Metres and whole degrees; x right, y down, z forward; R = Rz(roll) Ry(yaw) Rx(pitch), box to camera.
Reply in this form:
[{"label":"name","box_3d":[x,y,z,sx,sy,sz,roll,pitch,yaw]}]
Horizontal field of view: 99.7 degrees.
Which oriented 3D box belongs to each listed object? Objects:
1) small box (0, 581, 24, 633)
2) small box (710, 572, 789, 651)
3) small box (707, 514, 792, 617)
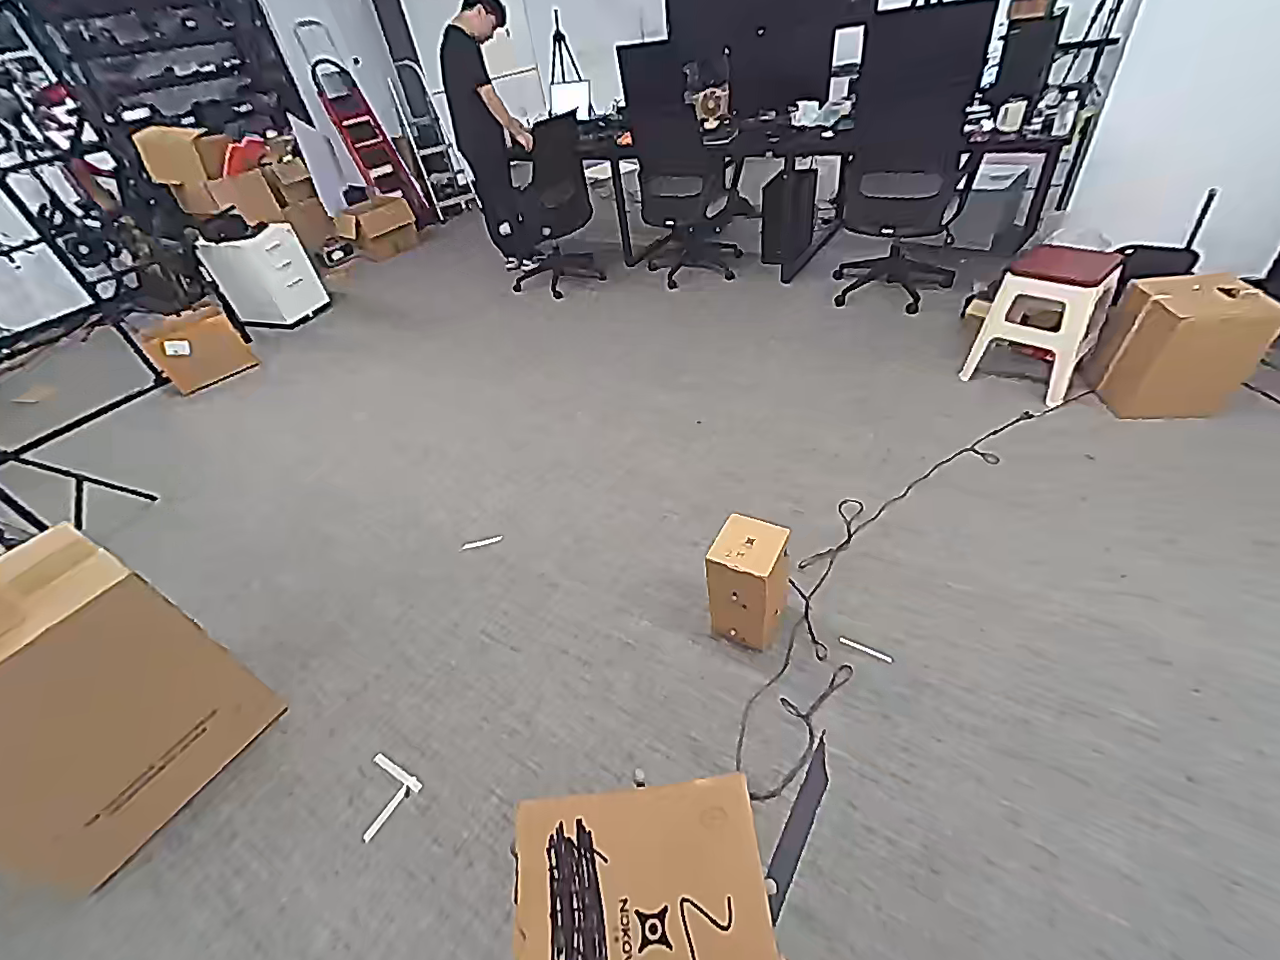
[{"label":"small box","box_3d":[-1.377,0.244,1.051,0.179,0.176,0.168,18,48,29]},{"label":"small box","box_3d":[0.312,0.347,1.538,0.168,0.176,0.179,17,49,29]},{"label":"small box","box_3d":[0.290,0.225,1.430,0.168,0.176,0.179,16,47,28]}]
